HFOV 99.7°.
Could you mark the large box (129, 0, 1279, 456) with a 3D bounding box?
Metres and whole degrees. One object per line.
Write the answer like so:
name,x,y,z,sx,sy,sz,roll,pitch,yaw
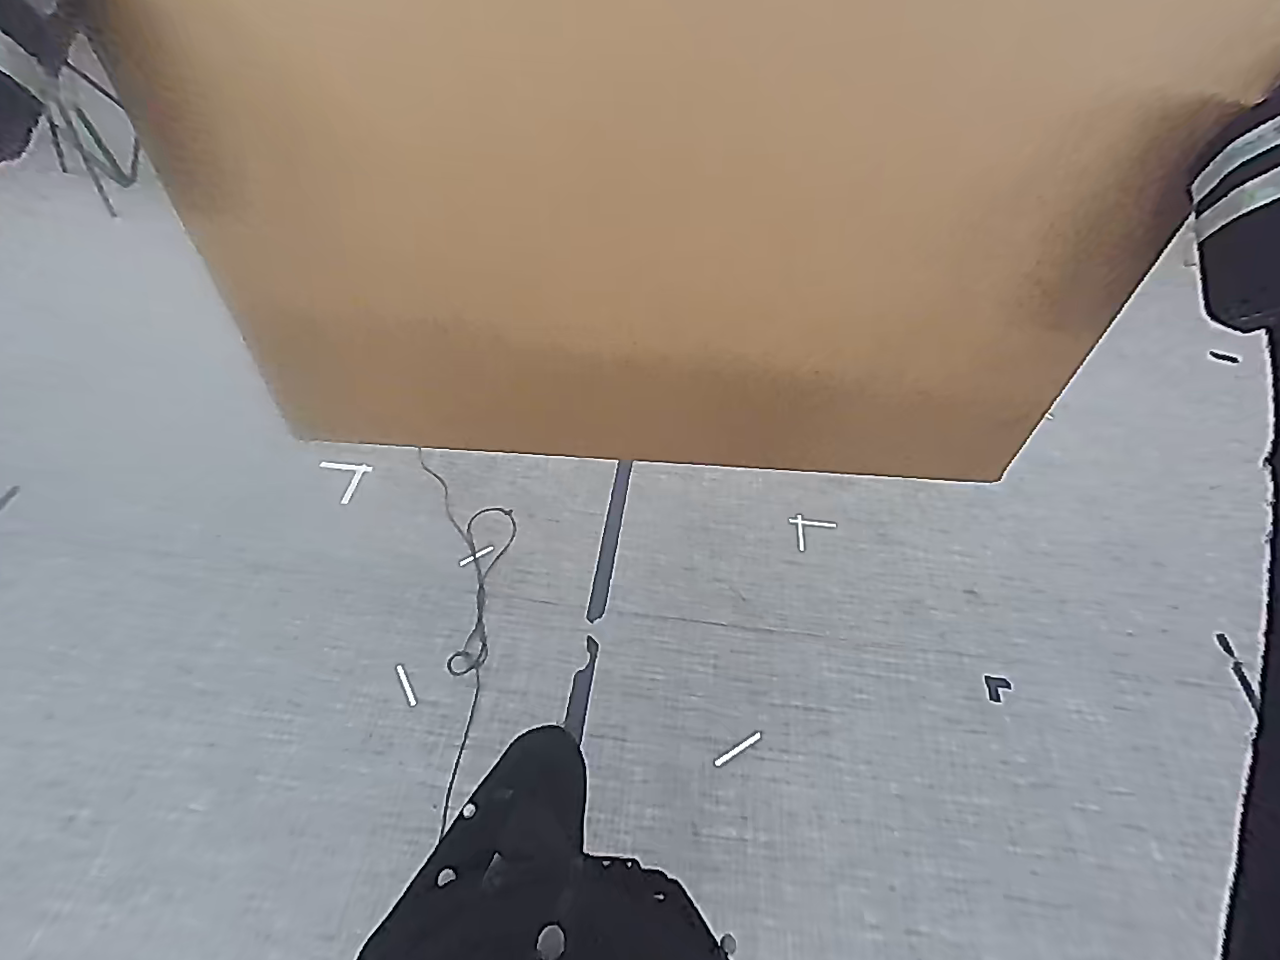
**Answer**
large box,0.020,-0.232,0.319,0.408,0.320,0.320,4,44,-2
